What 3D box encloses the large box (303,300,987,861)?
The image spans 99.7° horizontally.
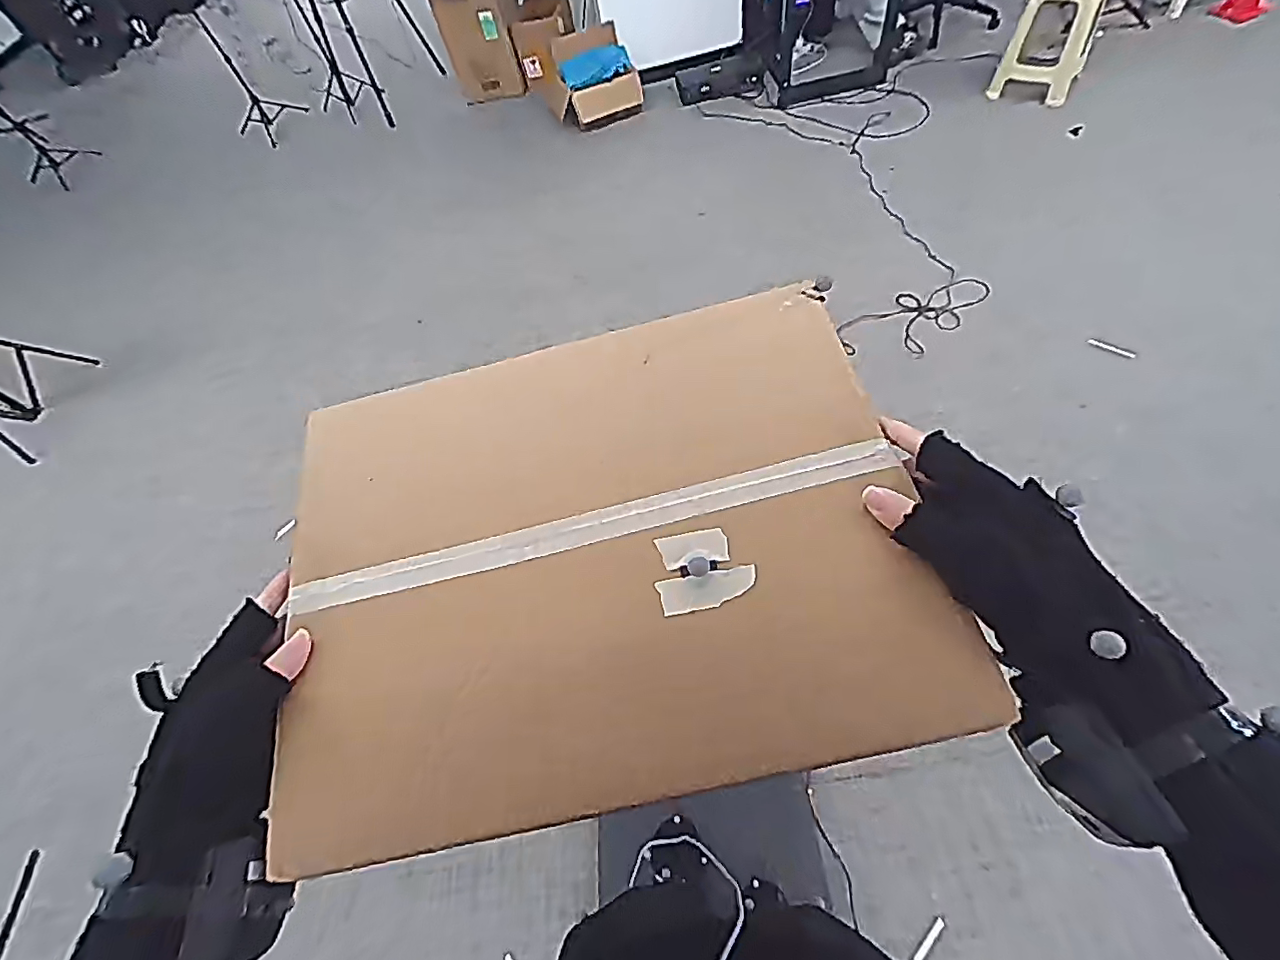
[{"bbox_3d":[-0.010,0.101,0.499,0.408,0.320,0.320,-14,64,2],"label":"large box"}]
